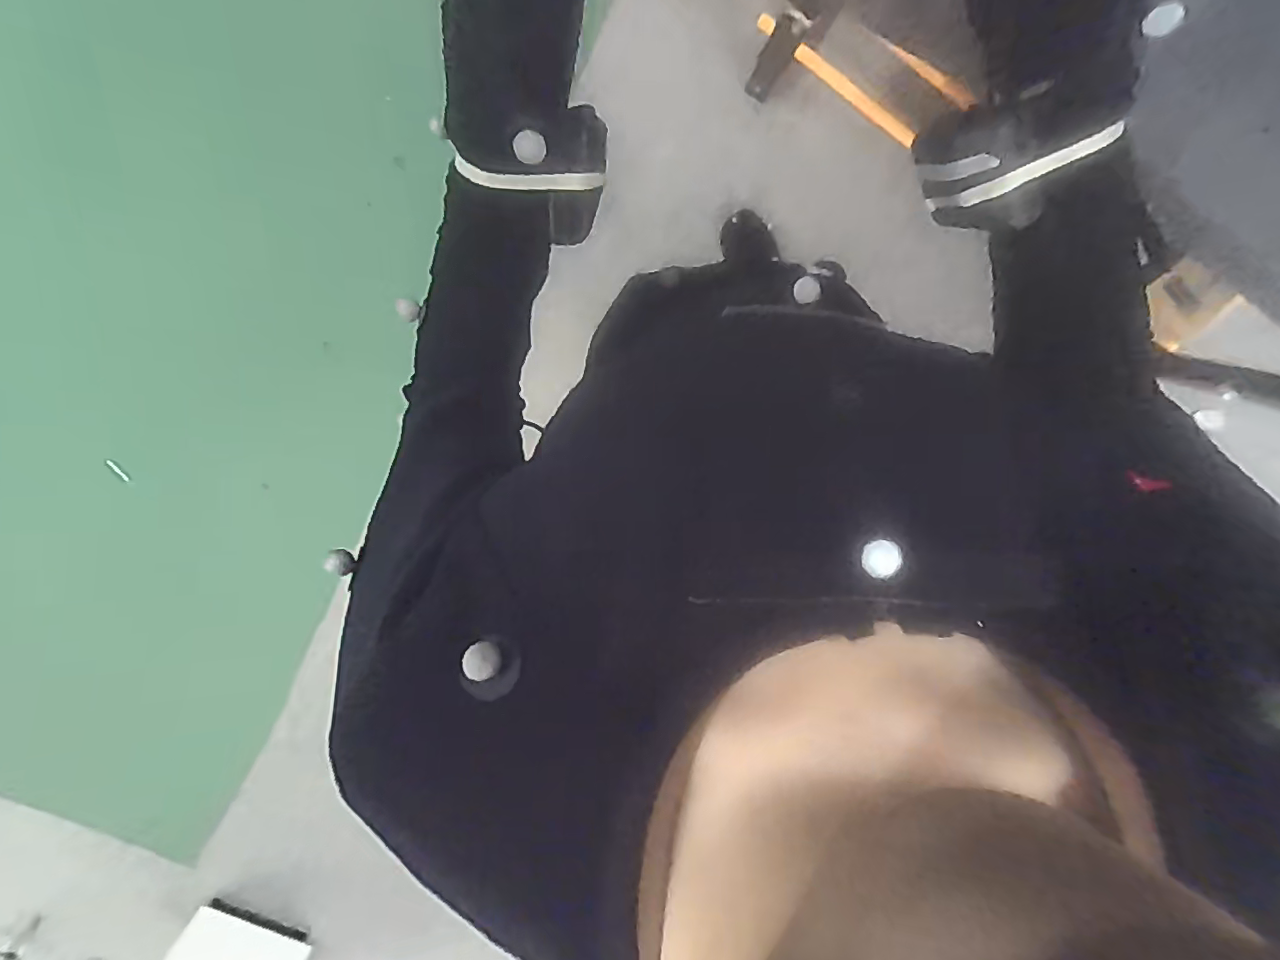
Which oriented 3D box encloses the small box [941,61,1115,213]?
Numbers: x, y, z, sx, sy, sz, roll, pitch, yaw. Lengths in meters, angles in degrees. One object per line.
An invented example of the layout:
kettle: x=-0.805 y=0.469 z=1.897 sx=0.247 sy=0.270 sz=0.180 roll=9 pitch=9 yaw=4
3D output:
small box: x=0.728 y=-0.642 z=1.037 sx=0.168 sy=0.176 sz=0.179 roll=32 pitch=113 yaw=-11
